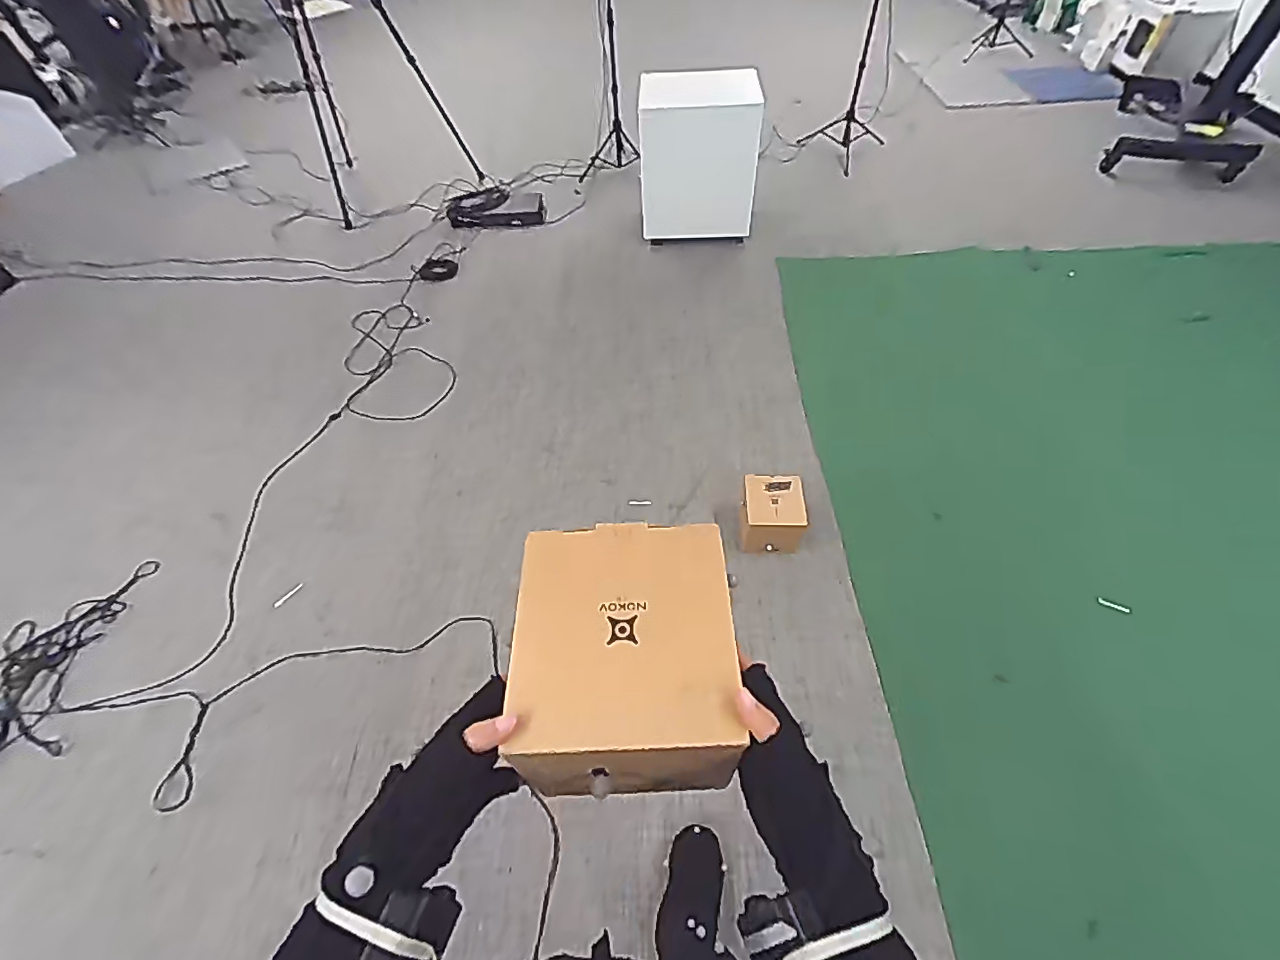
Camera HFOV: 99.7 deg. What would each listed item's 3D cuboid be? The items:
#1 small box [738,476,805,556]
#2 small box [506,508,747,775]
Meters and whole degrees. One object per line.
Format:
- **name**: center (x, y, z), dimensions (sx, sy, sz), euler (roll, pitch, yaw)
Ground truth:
- **small box**: center (0.387, 0.108, 1.622), dimensions (0.168, 0.176, 0.179), euler (1, 54, 4)
- **small box**: center (-0.006, 0.146, 0.469), dimensions (0.168, 0.176, 0.179), euler (-3, 49, 1)
